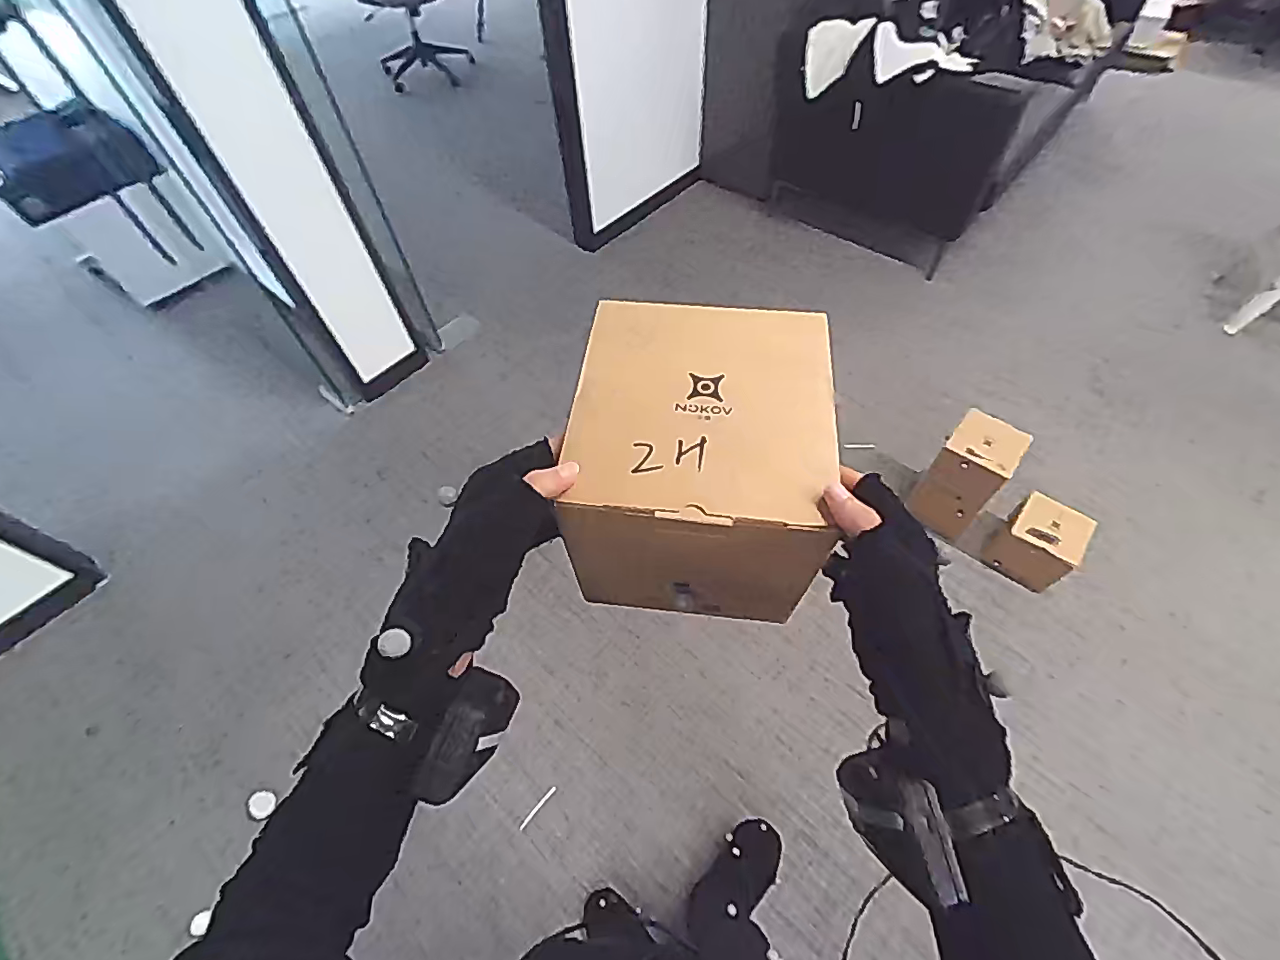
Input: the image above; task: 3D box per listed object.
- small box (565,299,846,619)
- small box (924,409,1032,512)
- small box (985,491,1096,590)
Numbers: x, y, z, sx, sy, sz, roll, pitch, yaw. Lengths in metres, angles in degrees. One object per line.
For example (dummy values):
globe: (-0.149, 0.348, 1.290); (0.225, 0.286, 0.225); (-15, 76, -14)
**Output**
small box: (0.049, -0.011, 0.420); (0.168, 0.176, 0.179); (6, 58, 6)
small box: (0.901, -0.050, 1.458); (0.168, 0.176, 0.179); (35, 63, 24)
small box: (1.093, 0.171, 1.490); (0.168, 0.176, 0.179); (34, 63, 23)
